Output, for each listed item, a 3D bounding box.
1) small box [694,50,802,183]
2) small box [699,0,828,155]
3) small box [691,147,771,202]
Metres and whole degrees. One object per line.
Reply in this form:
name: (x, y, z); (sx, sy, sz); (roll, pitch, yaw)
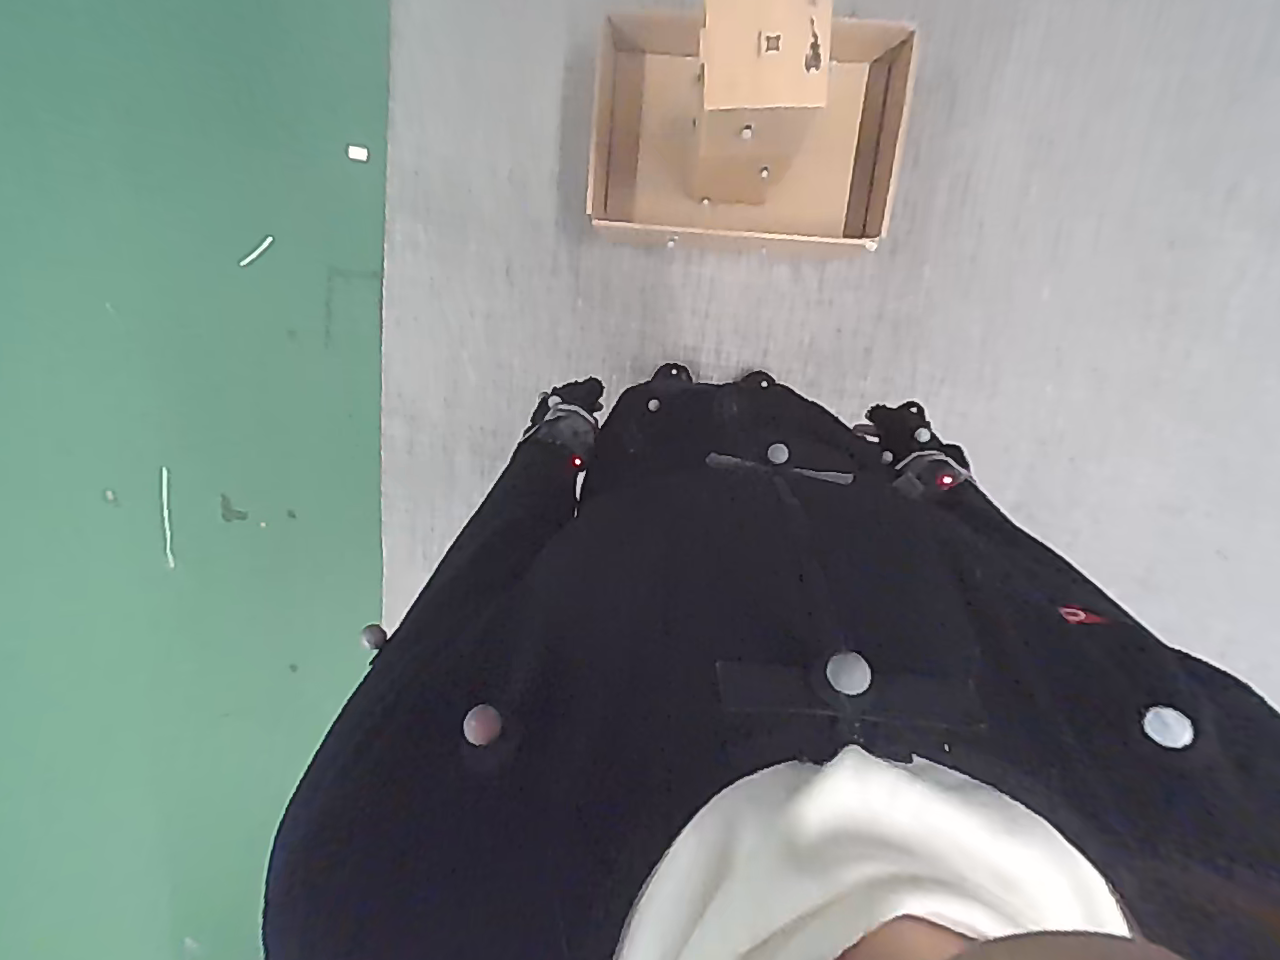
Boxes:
small box: (0.189, -0.651, 0.974); (0.179, 0.176, 0.168); (-1, 102, 4)
small box: (0.180, -0.623, 0.832); (0.179, 0.176, 0.168); (-2, 100, 4)
small box: (0.199, -0.706, 1.144); (0.168, 0.176, 0.179); (6, 102, 4)
